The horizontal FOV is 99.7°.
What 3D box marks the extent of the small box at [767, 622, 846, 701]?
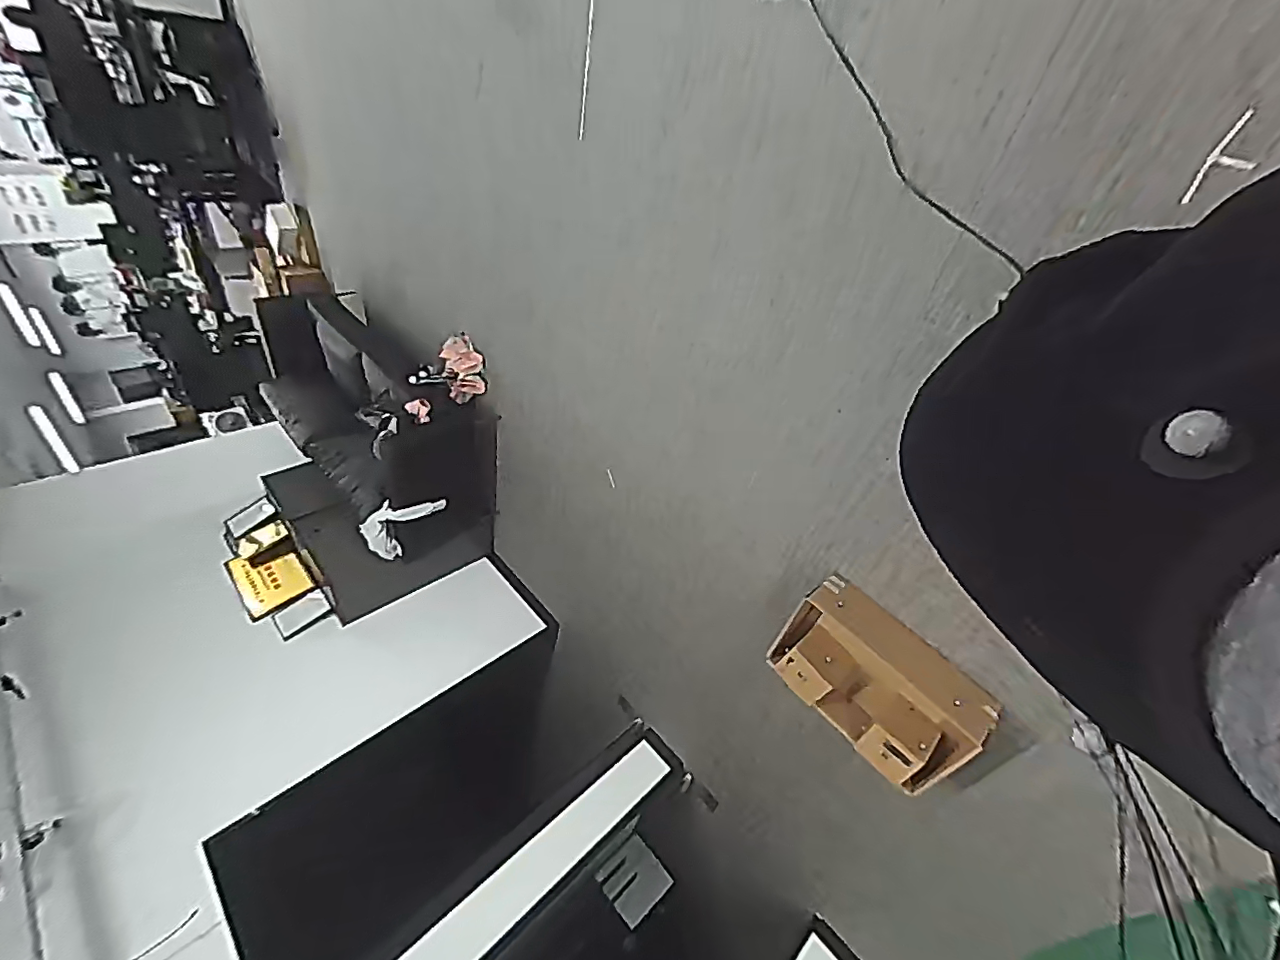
[{"bbox_3d":[0.595,0.641,1.925,0.179,0.176,0.168,46,137,20],"label":"small box"}]
